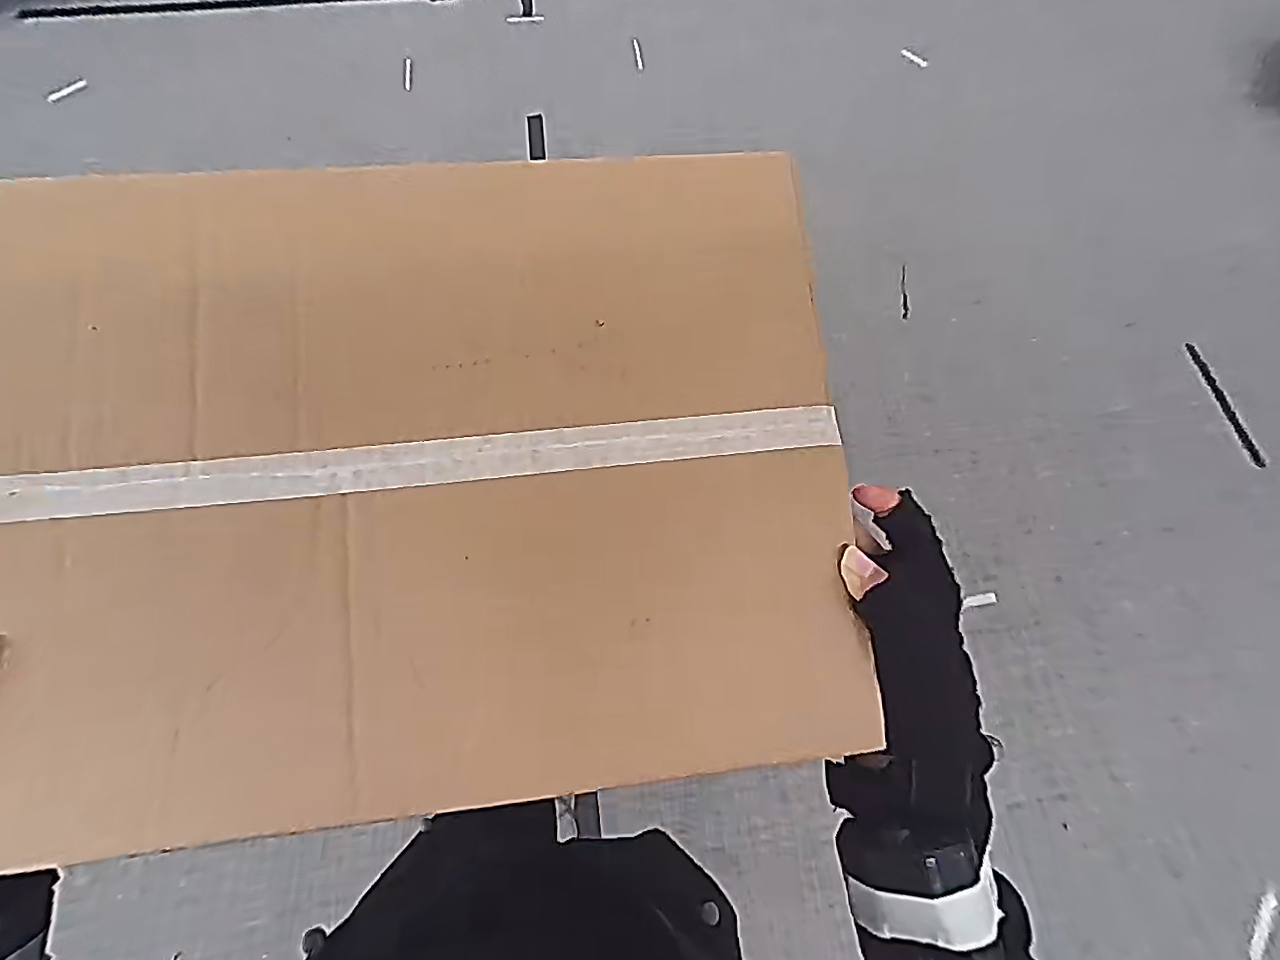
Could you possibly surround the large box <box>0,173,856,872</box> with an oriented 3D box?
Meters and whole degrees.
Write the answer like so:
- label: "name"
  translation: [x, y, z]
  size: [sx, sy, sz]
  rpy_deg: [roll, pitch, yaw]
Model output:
- label: "large box"
  translation: [-0.114, 0.018, 0.415]
  size: [0.408, 0.320, 0.320]
  rpy_deg: [-5, 82, -5]
